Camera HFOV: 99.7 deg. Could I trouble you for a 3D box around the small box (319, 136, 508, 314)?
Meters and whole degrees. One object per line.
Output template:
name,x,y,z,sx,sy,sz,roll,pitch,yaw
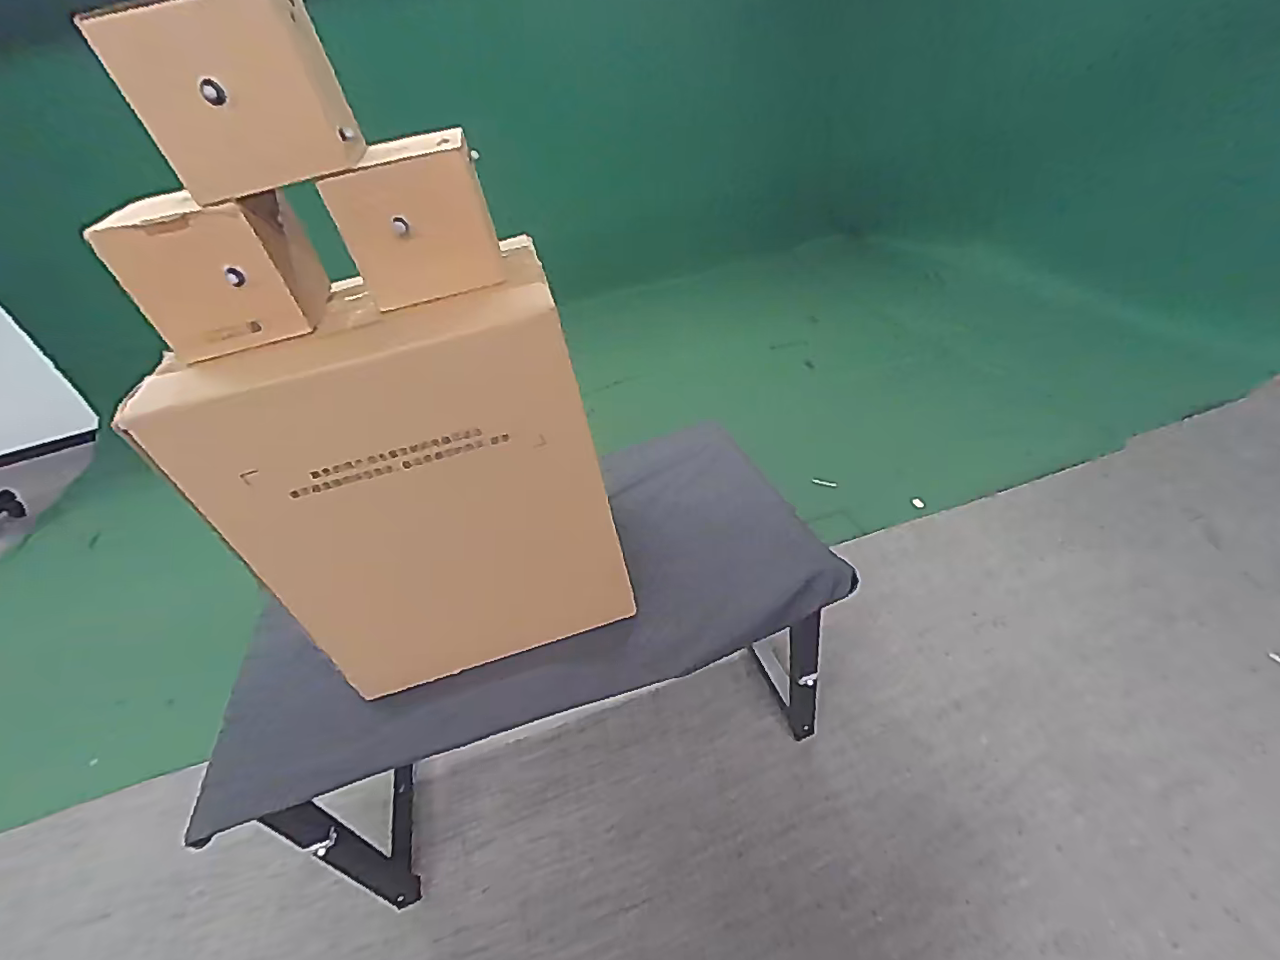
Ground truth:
small box,-0.297,-0.350,0.748,0.179,0.176,0.168,-17,42,-4

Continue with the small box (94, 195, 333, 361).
small box,-0.541,-0.274,0.724,0.168,0.176,0.179,-16,40,-7

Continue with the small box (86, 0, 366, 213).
small box,-0.448,-0.434,0.628,0.179,0.176,0.168,-19,41,-5
